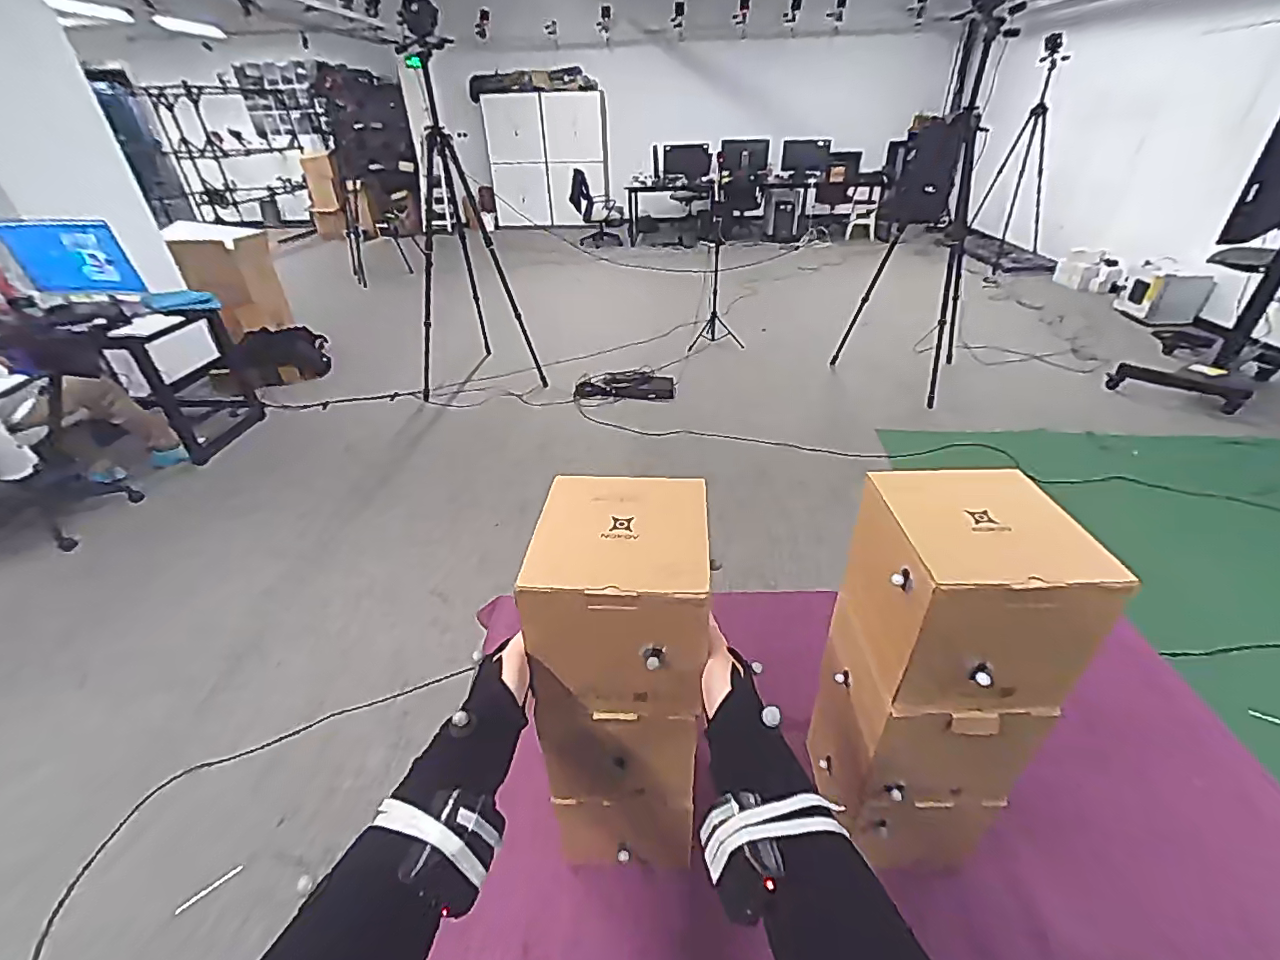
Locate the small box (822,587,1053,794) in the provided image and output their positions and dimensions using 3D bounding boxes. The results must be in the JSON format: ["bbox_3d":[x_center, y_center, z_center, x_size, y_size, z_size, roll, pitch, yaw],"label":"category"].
[{"bbox_3d":[0.327,0.246,0.639,0.168,0.176,0.179,-2,32,2],"label":"small box"}]

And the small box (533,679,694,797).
[{"bbox_3d":[-0.020,0.252,0.647,0.168,0.176,0.179,0,34,2],"label":"small box"}]

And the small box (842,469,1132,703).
[{"bbox_3d":[0.324,0.104,0.557,0.168,0.176,0.179,-2,34,1],"label":"small box"}]

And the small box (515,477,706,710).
[{"bbox_3d":[-0.015,0.114,0.560,0.168,0.176,0.179,1,33,4],"label":"small box"}]

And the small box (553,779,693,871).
[{"bbox_3d":[-0.015,0.392,0.734,0.168,0.176,0.179,-1,33,3],"label":"small box"}]
